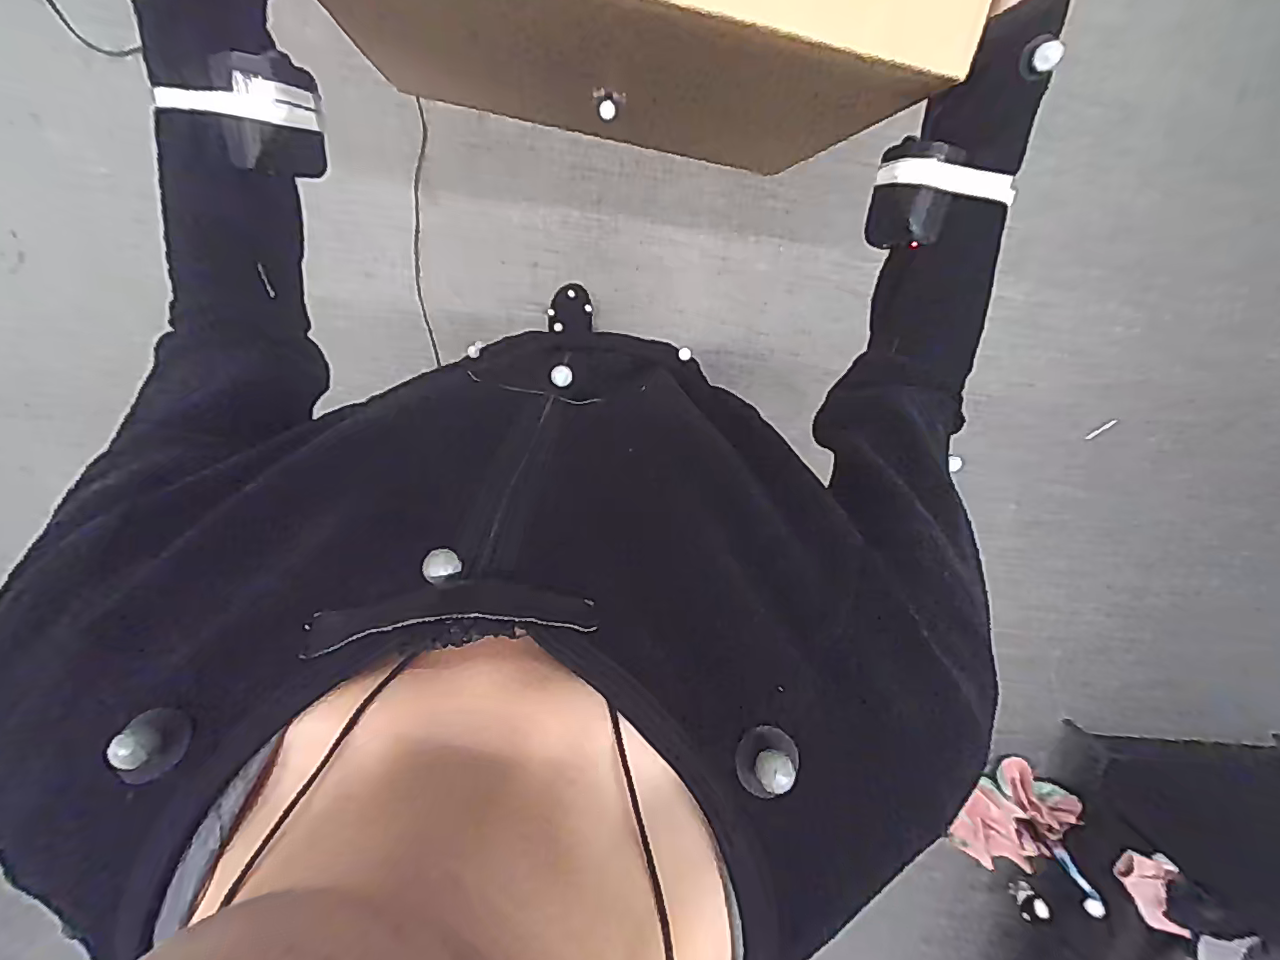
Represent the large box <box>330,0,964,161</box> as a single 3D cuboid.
[{"bbox_3d":[0.001,-0.461,0.391,0.408,0.320,0.320,6,109,-10],"label":"large box"}]
